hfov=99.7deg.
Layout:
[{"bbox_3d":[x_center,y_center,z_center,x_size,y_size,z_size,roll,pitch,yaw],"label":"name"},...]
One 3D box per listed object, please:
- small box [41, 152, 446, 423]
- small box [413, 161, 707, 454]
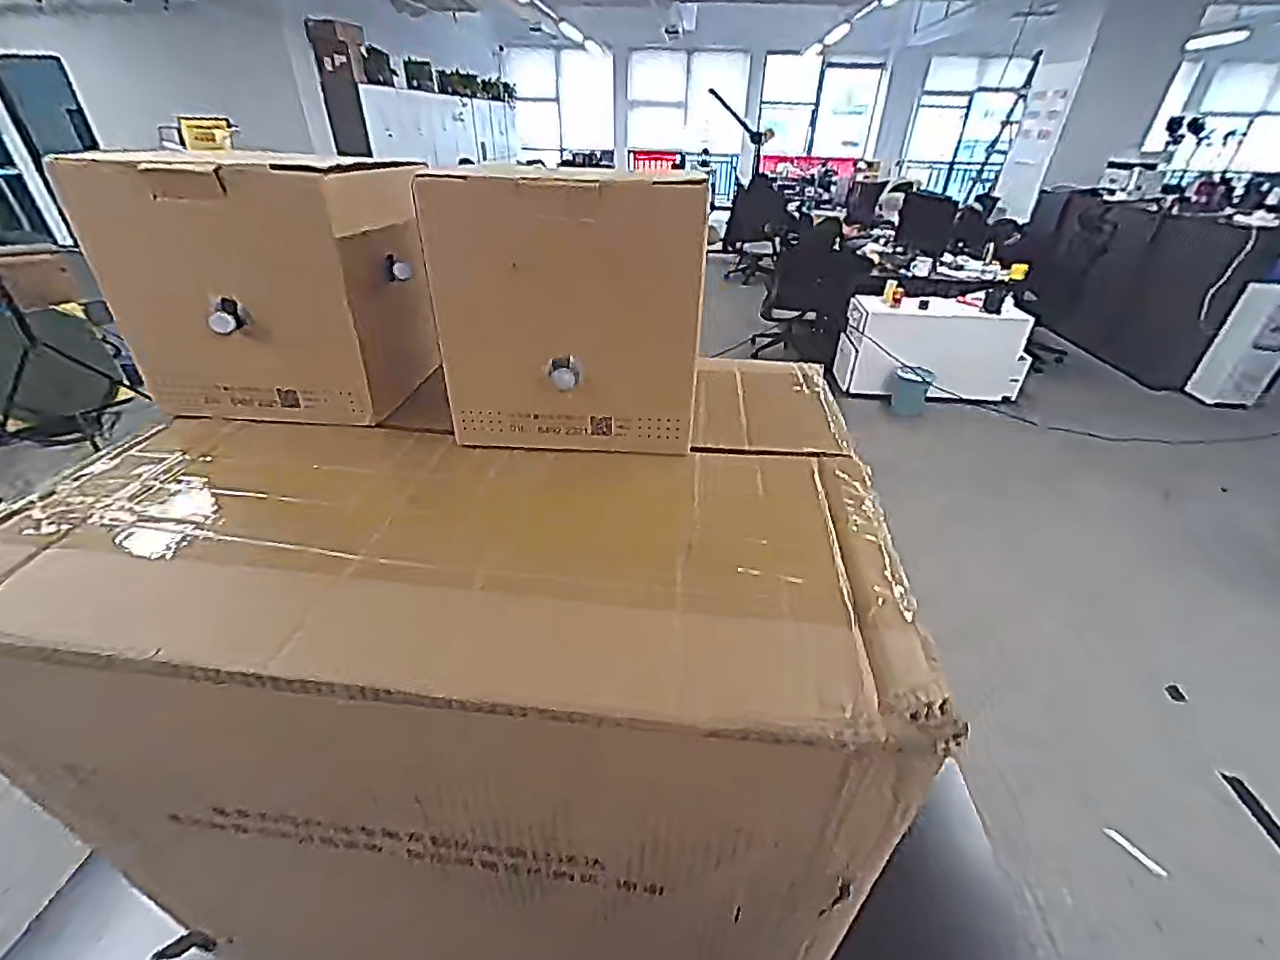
[{"bbox_3d":[-0.267,-0.155,0.425,0.168,0.176,0.179,3,32,0],"label":"small box"},{"bbox_3d":[-0.041,-0.135,0.403,0.168,0.176,0.179,2,31,2],"label":"small box"}]
